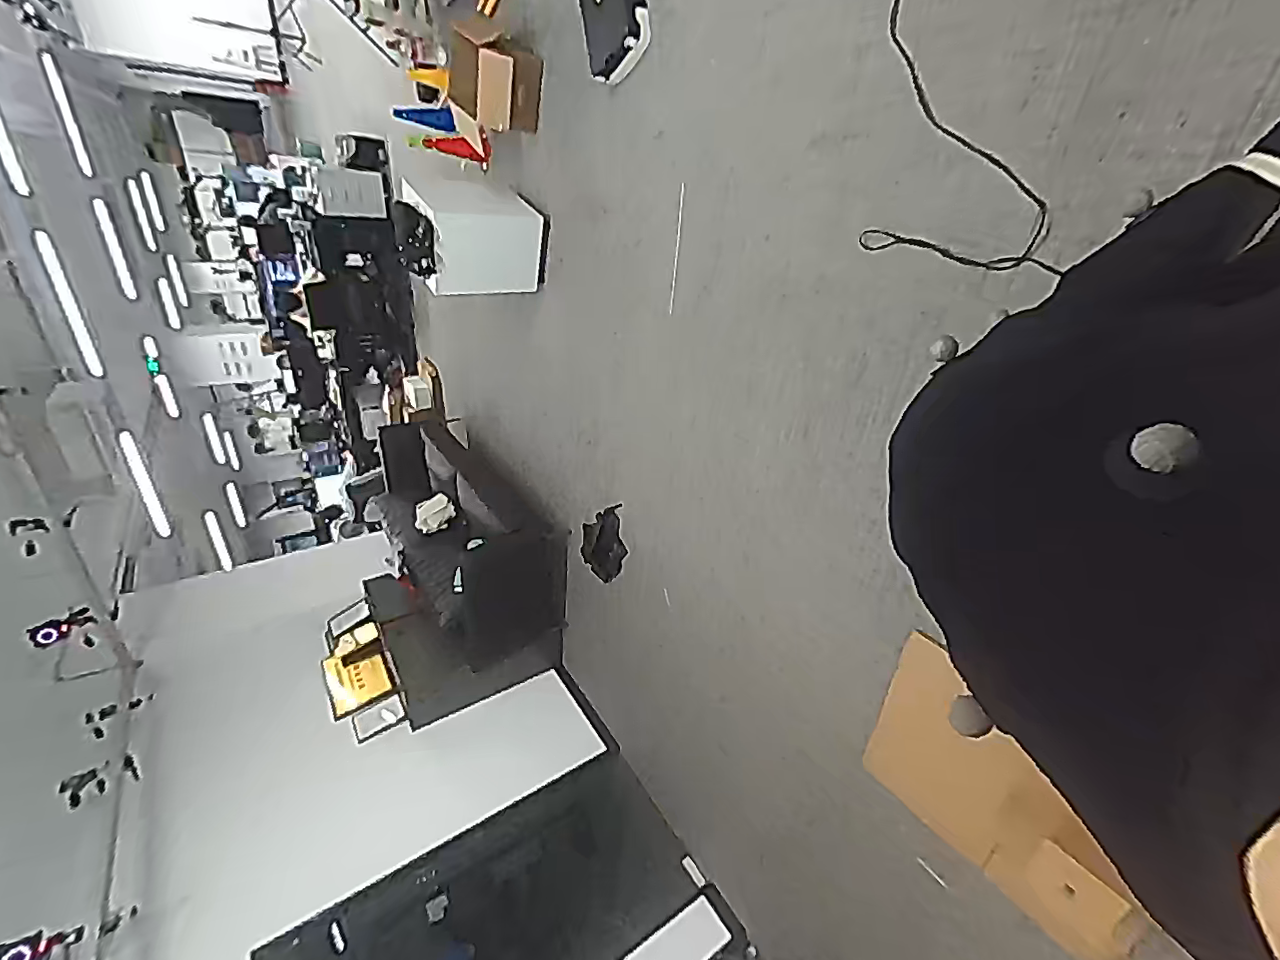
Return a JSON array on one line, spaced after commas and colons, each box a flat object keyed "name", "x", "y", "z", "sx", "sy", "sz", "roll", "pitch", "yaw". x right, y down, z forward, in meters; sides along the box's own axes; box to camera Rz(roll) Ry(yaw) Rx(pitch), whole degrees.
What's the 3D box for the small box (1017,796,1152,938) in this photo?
[{"name": "small box", "x": 1.024, "y": 0.882, "z": 1.246, "sx": 0.168, "sy": 0.176, "sz": 0.179, "roll": 35, "pitch": 130, "yaw": 44}]
